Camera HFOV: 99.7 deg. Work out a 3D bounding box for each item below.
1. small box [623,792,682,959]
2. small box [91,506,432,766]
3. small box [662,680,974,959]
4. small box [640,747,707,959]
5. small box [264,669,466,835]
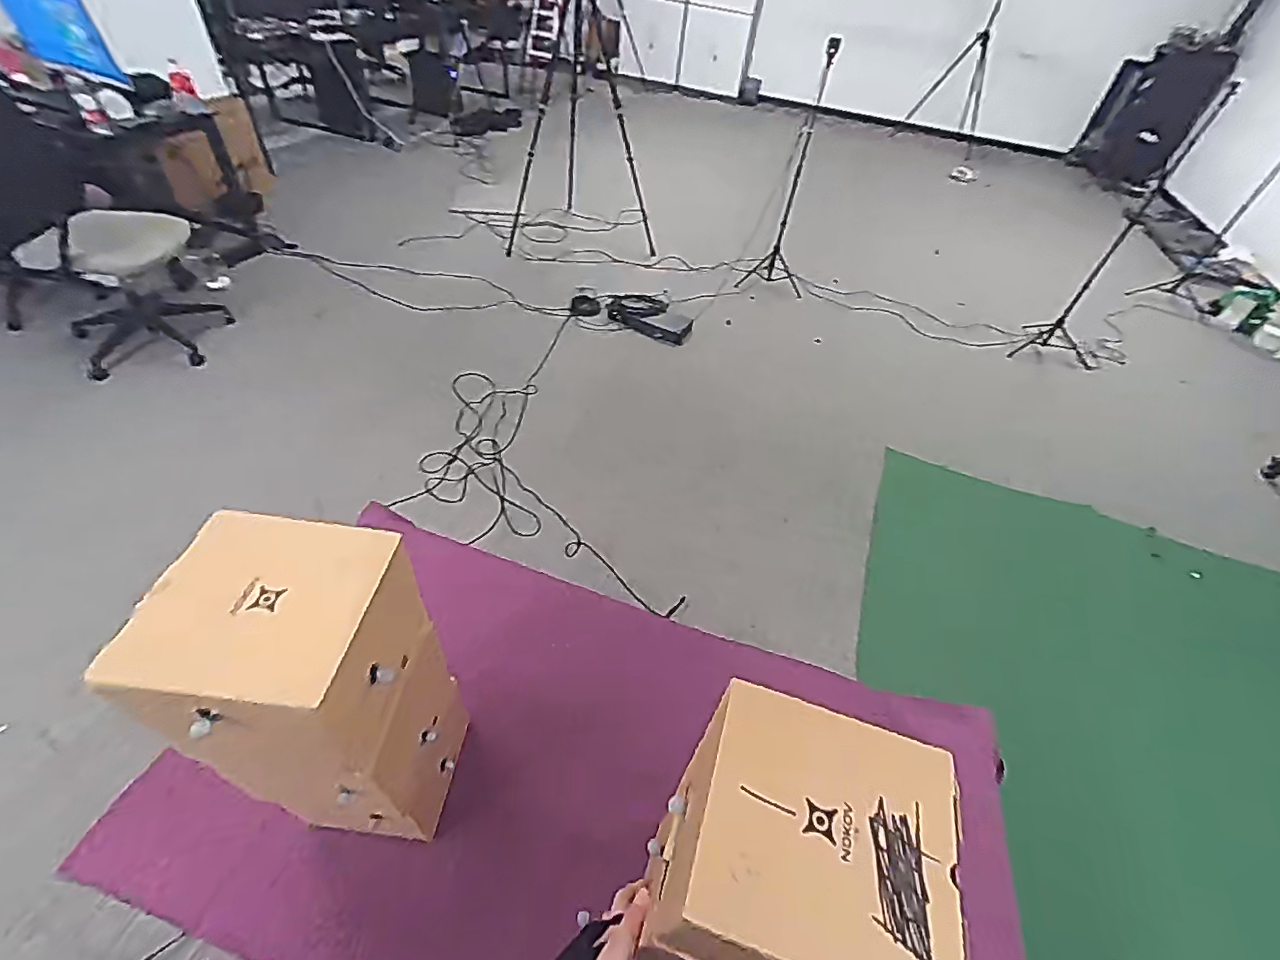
[{"bbox_3d":[0.089,0.525,0.664,0.179,0.176,0.168,20,47,11],"label":"small box"},{"bbox_3d":[-0.312,0.149,0.502,0.179,0.176,0.168,8,46,-2],"label":"small box"},{"bbox_3d":[0.130,0.296,0.431,0.179,0.176,0.168,18,46,9],"label":"small box"},{"bbox_3d":[0.109,0.411,0.548,0.179,0.176,0.168,18,47,10],"label":"small box"},{"bbox_3d":[-0.353,0.368,0.741,0.179,0.176,0.168,9,45,0],"label":"small box"}]
